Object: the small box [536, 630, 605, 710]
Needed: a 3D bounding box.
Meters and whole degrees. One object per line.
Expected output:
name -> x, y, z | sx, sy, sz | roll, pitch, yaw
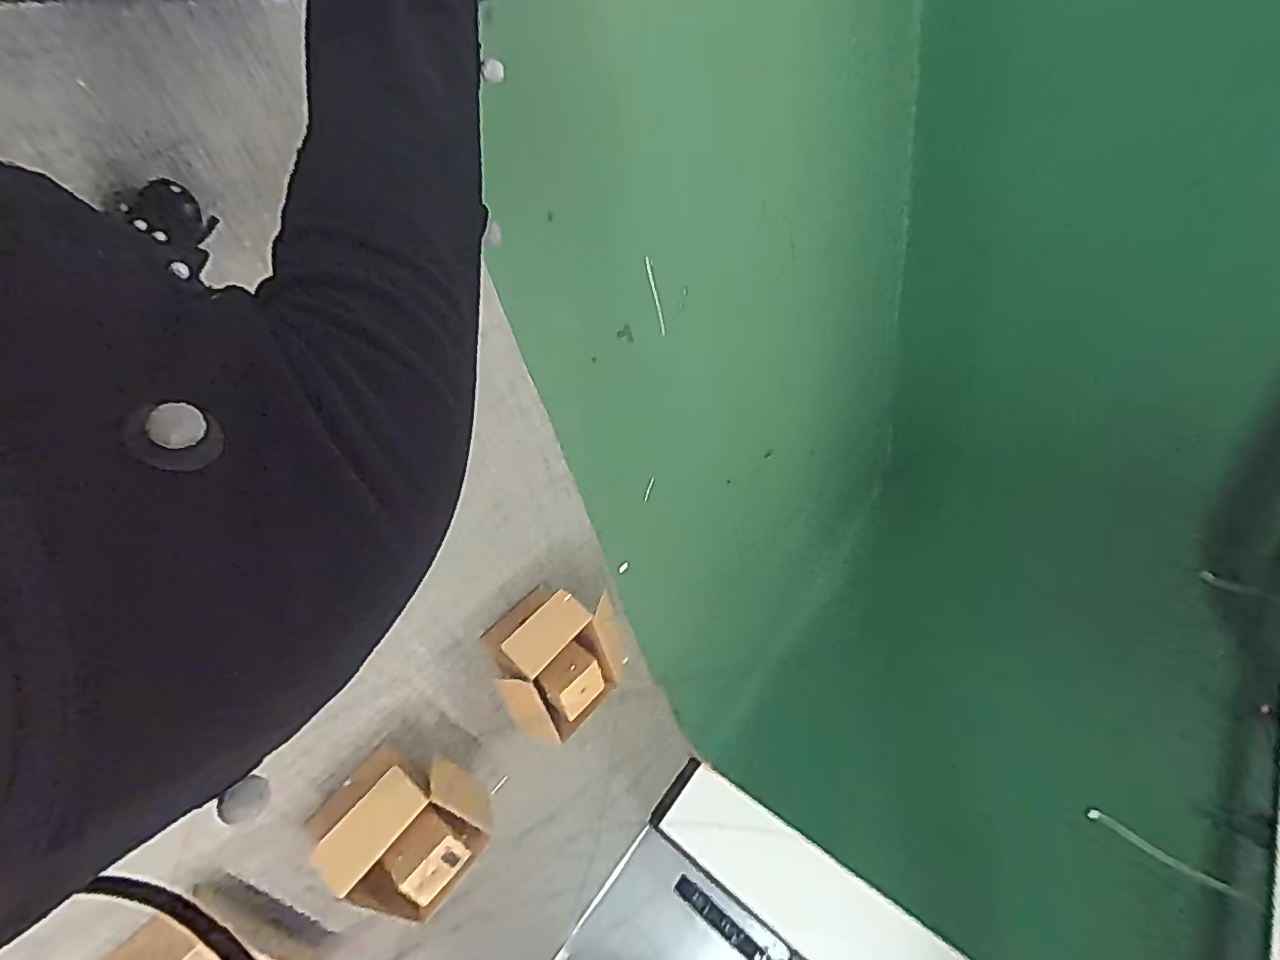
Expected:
small box -> -0.261, 0.691, 1.981 | 0.179, 0.176, 0.168 | -39, 133, -32
